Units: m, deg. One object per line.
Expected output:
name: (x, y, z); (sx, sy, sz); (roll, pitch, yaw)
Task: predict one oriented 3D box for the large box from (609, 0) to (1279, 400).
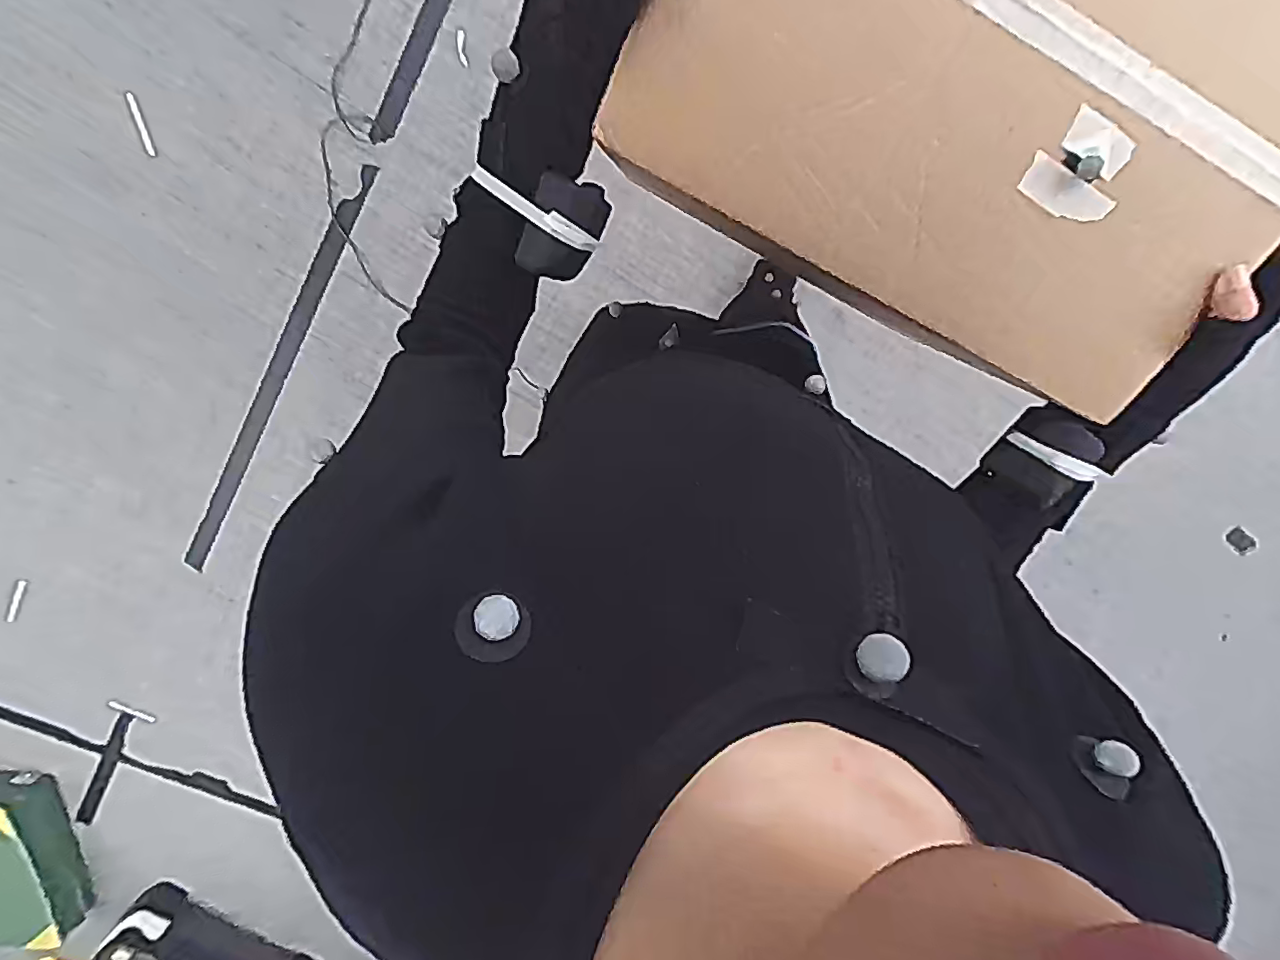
large box: (0.223, -0.323, 0.444); (0.408, 0.320, 0.320); (25, 115, -10)
